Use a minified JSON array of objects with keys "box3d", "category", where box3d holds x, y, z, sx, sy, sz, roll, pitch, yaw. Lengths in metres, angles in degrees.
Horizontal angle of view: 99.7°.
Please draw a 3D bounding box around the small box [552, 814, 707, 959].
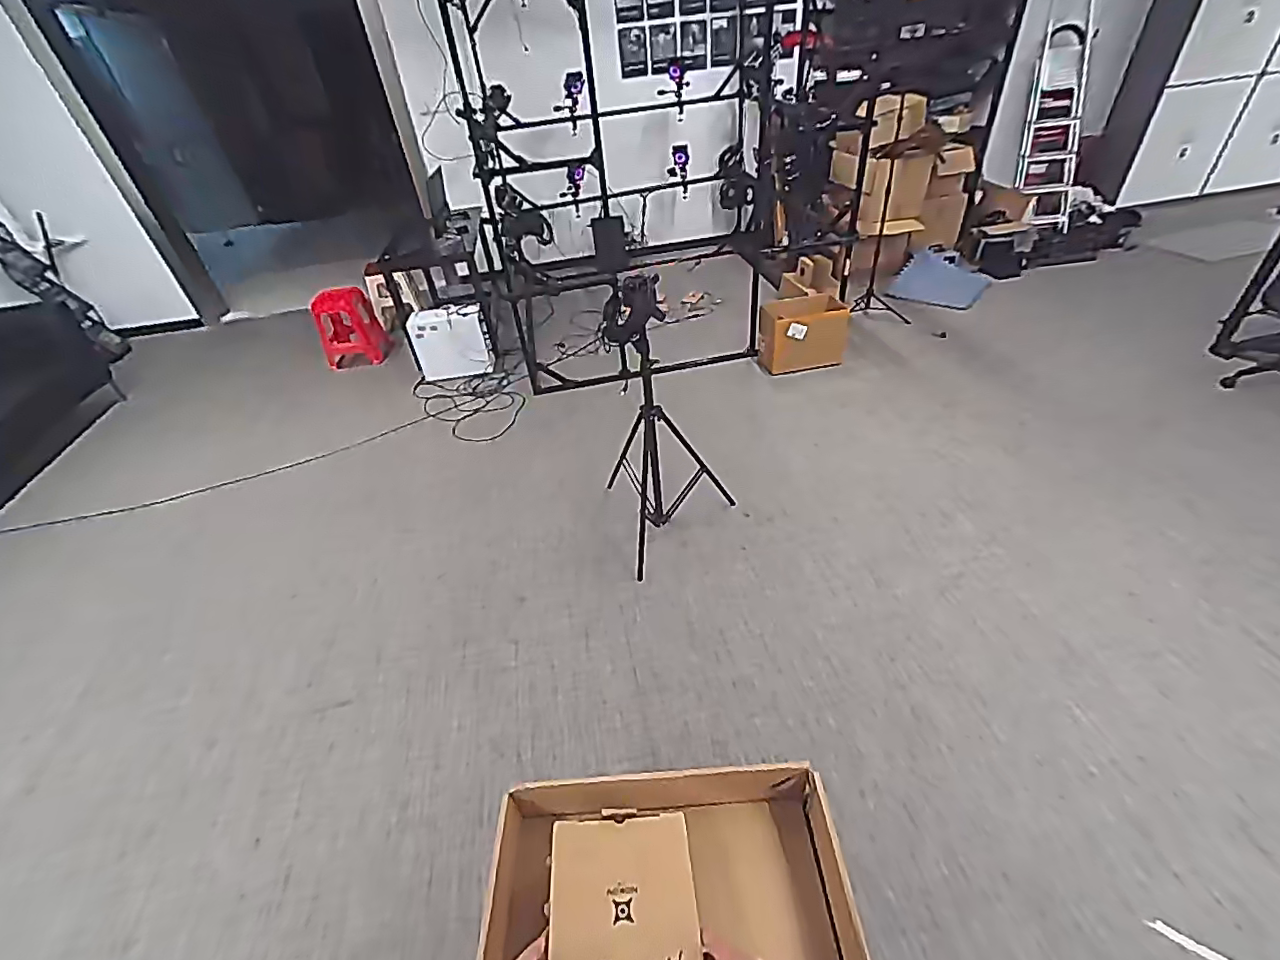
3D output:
[{"box3d":[-0.017,0.537,0.654,0.168,0.176,0.179,-2,38,-4],"category":"small box"}]
